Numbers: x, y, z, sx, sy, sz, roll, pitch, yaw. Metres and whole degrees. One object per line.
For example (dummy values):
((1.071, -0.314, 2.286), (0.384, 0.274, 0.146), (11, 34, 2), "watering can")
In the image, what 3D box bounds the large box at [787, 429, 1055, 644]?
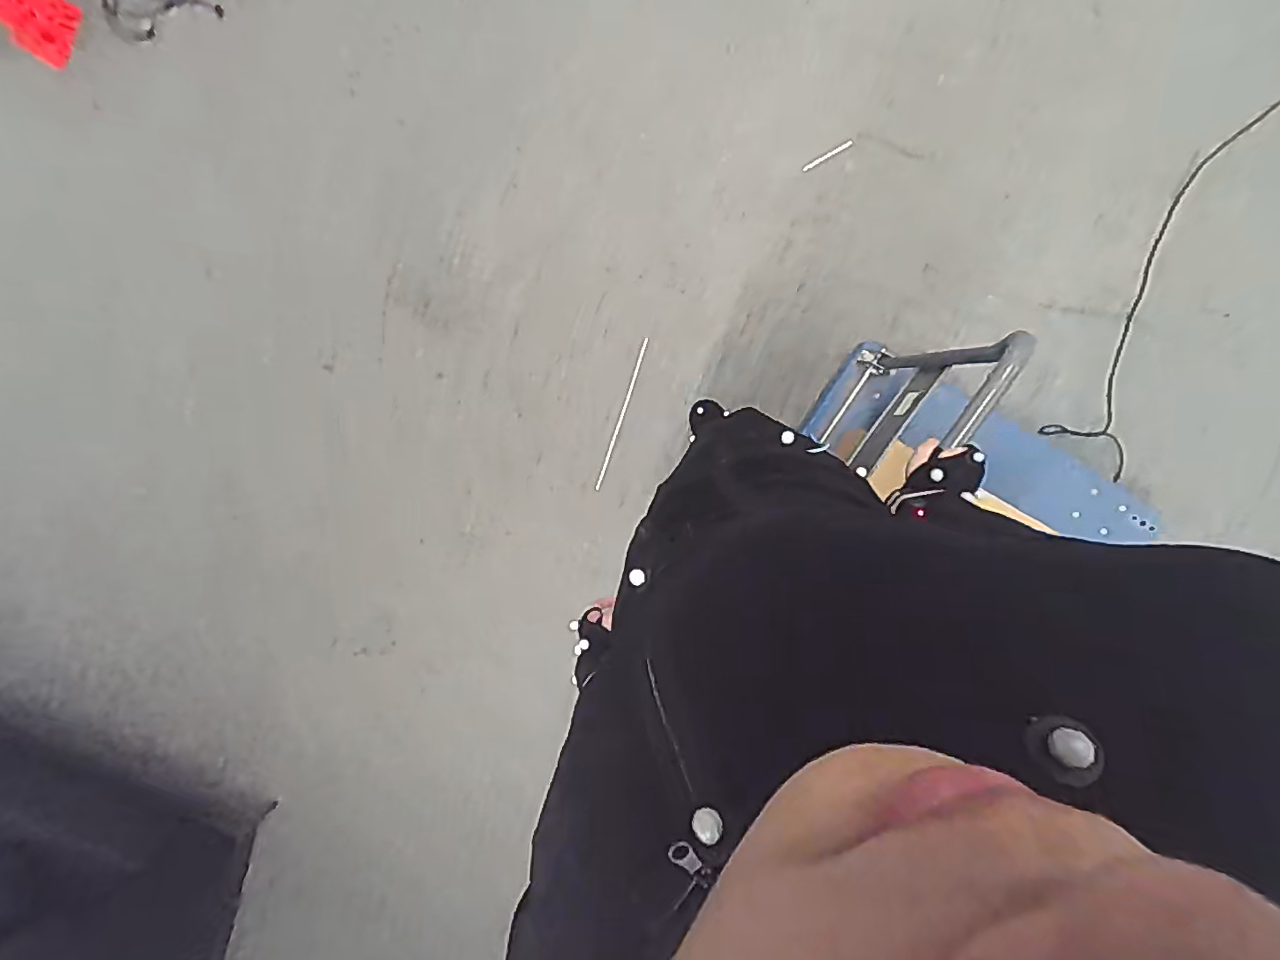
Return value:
((0.618, 0.106, 1.277), (0.408, 0.320, 0.320), (30, 100, 1), "large box")
